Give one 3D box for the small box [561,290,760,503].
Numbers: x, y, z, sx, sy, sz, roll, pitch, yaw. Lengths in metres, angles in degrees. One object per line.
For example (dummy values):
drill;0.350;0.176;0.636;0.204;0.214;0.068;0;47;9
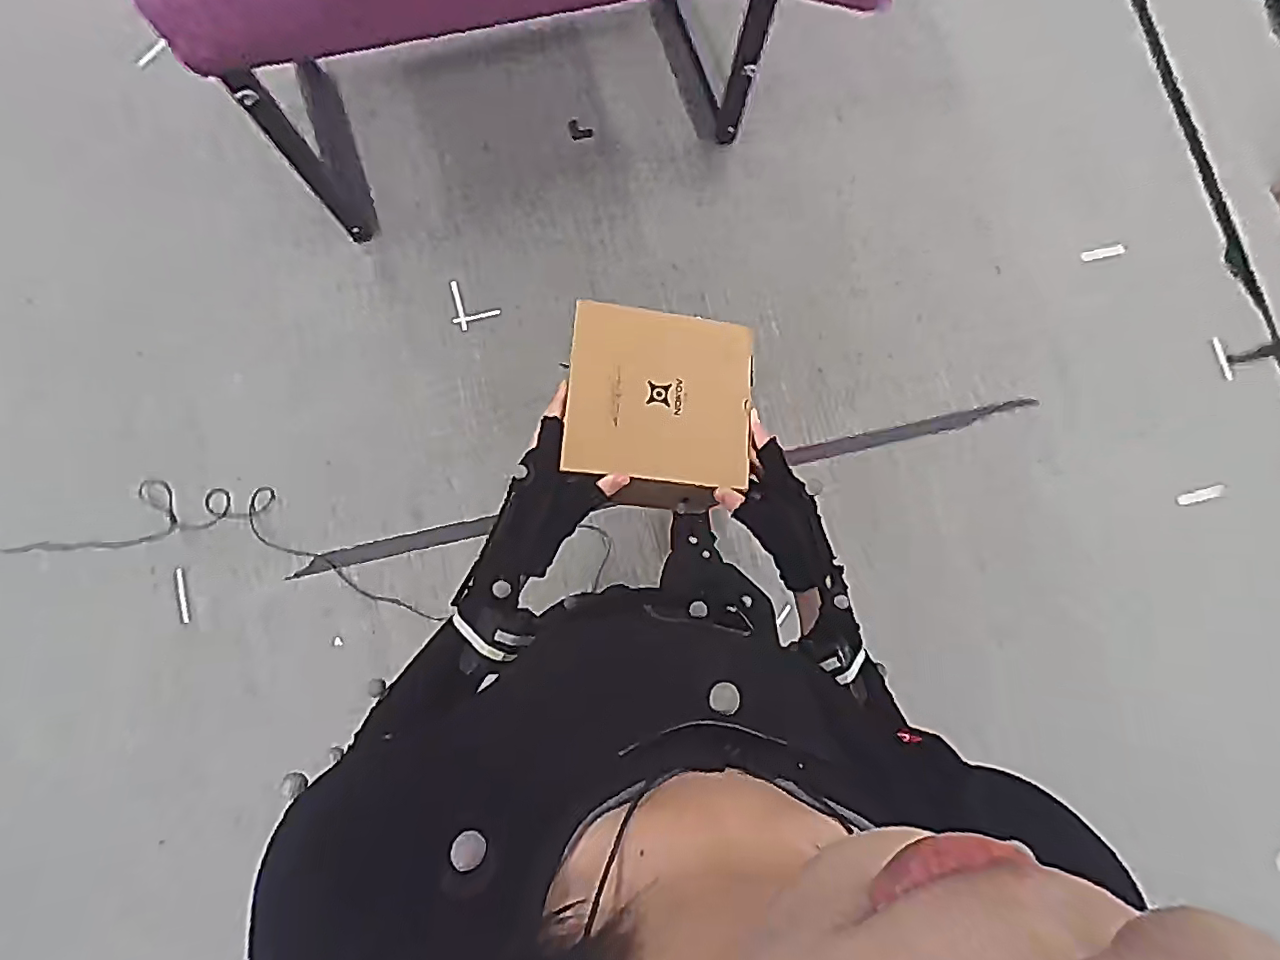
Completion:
small box;0.013;-0.072;0.569;0.179;0.176;0.168;5;77;-8
